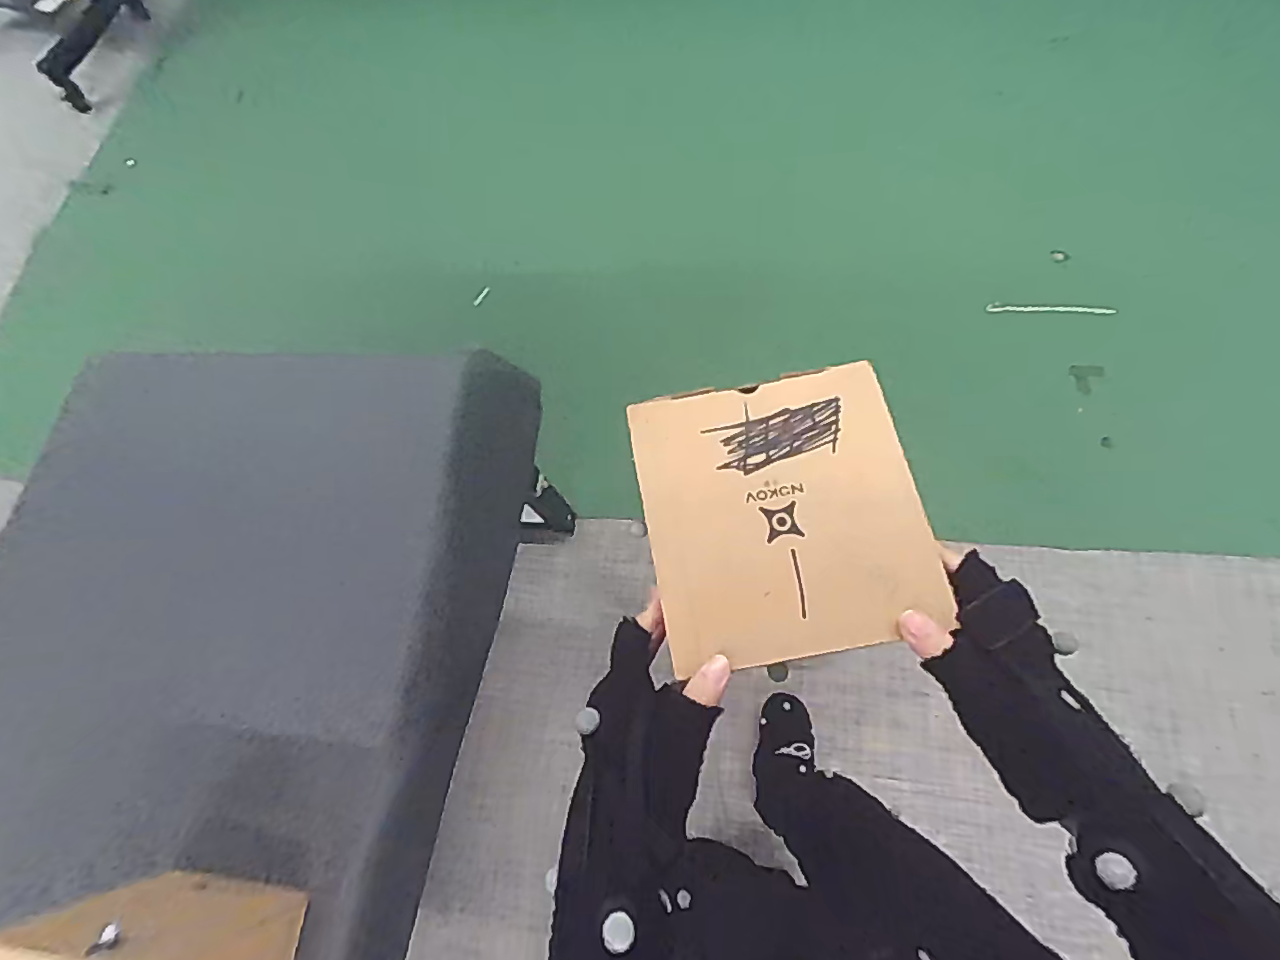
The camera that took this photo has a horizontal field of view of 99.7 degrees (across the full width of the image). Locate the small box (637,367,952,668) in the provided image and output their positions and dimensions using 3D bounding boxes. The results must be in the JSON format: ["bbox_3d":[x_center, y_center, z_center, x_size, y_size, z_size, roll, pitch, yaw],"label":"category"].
[{"bbox_3d":[0.093,0.041,0.413,0.168,0.176,0.179,-10,72,2],"label":"small box"}]
